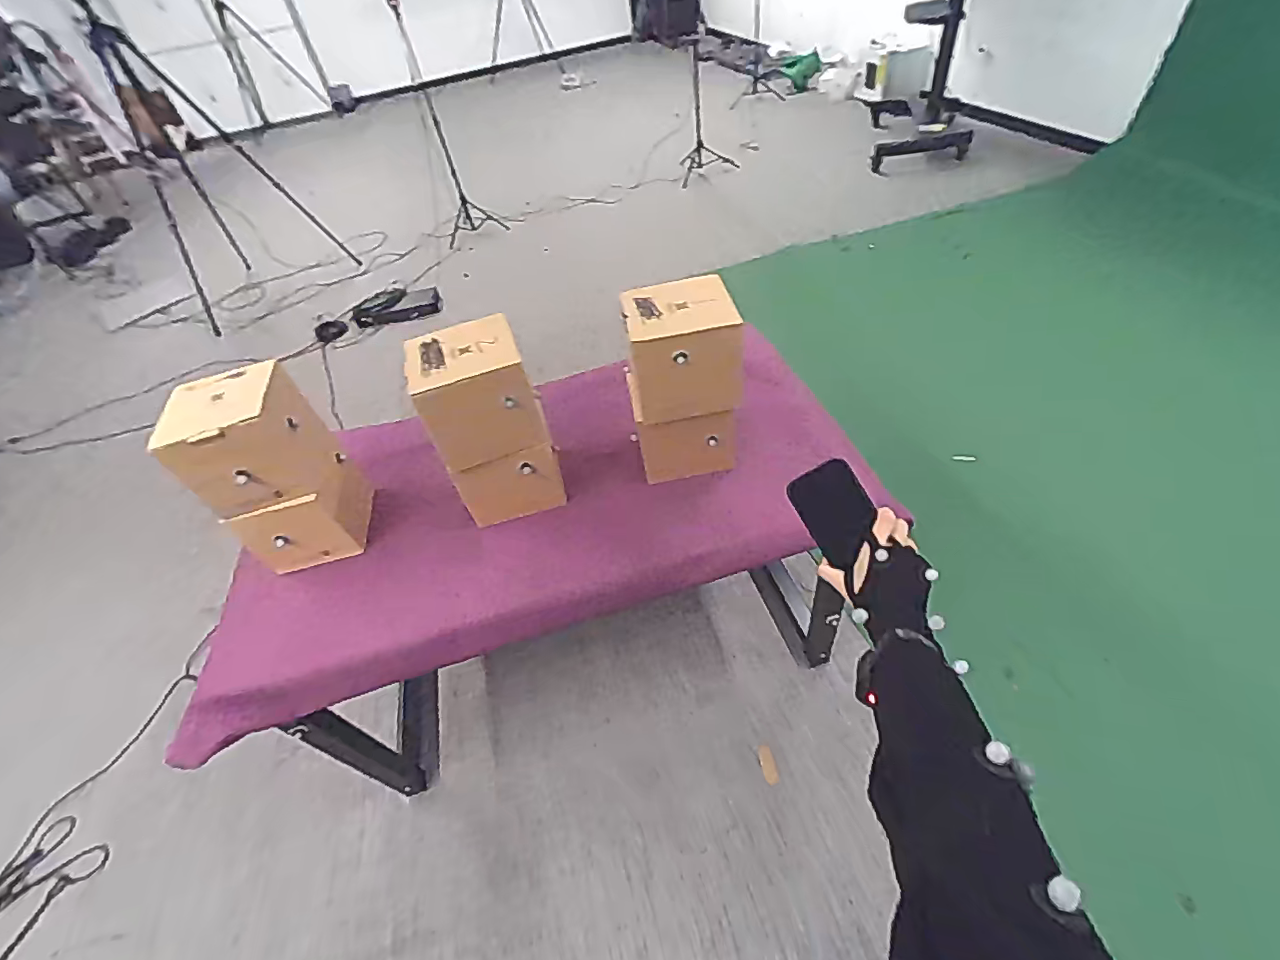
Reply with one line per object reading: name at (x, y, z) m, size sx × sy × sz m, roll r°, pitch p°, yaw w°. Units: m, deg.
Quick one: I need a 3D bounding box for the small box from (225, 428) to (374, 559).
small box at (-0.635, 0.033, 1.036) m, size 0.168 × 0.176 × 0.179 m, roll -14°, pitch 47°, yaw -3°

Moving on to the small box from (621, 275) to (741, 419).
small box at (0.071, -0.223, 0.925) m, size 0.179 × 0.176 × 0.168 m, roll -10°, pitch 47°, yaw 0°

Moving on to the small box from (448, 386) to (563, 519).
small box at (-0.253, -0.050, 1.043) m, size 0.179 × 0.176 × 0.168 m, roll -15°, pitch 47°, yaw -3°

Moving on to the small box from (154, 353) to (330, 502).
small box at (-0.658, -0.083, 0.921) m, size 0.168 × 0.176 × 0.179 m, roll -17°, pitch 48°, yaw -7°

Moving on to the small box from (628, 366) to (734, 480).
small box at (0.080, -0.122, 1.055) m, size 0.179 × 0.176 × 0.168 m, roll -10°, pitch 47°, yaw 2°
